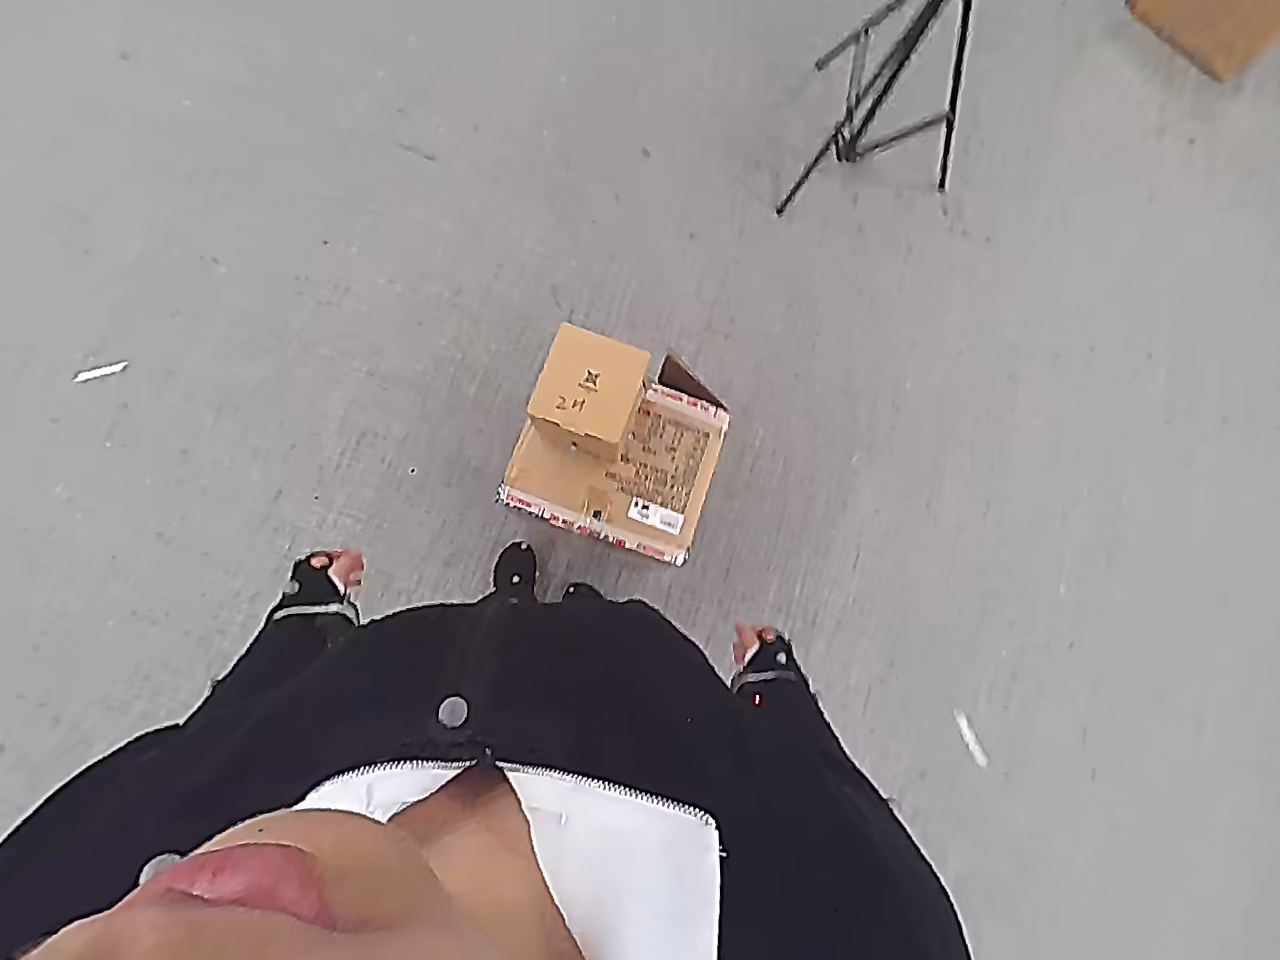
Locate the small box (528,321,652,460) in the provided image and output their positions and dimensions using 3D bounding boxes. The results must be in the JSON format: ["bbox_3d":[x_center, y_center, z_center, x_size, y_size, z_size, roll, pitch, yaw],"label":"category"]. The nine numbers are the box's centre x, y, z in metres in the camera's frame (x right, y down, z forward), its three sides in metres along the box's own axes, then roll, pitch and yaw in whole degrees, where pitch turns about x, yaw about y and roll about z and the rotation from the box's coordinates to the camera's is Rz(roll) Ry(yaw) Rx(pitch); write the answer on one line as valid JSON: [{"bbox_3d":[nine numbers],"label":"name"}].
[{"bbox_3d":[-0.089,-0.154,0.993,0.168,0.176,0.179,20,81,0],"label":"small box"}]
